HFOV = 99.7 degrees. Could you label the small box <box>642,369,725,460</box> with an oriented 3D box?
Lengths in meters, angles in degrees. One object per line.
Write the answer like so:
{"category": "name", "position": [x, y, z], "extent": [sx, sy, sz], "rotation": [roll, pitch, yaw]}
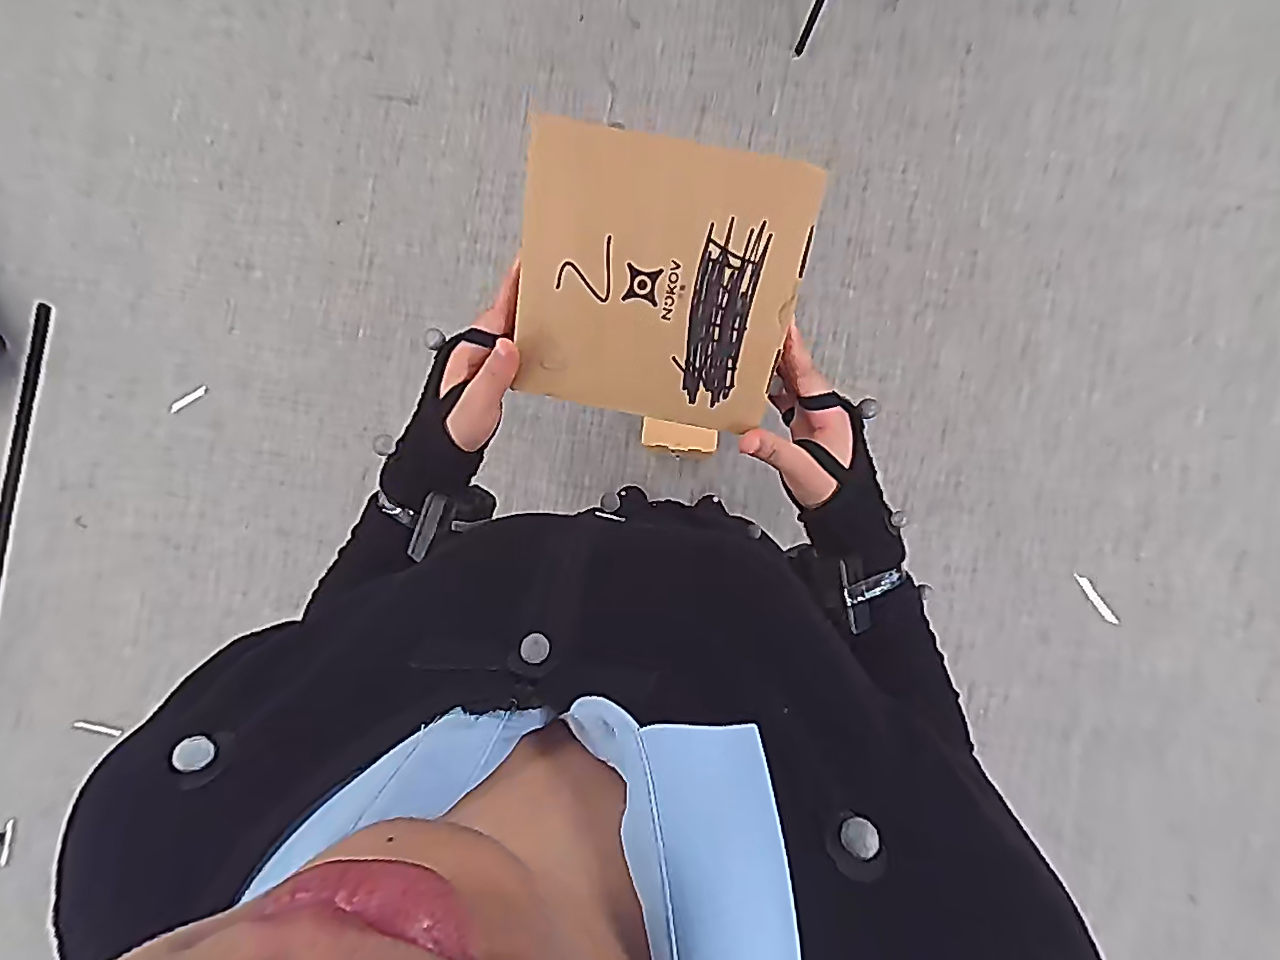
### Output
{"category": "small box", "position": [0.099, -0.146, 1.252], "extent": [0.168, 0.176, 0.179], "rotation": [7, 90, 5]}
